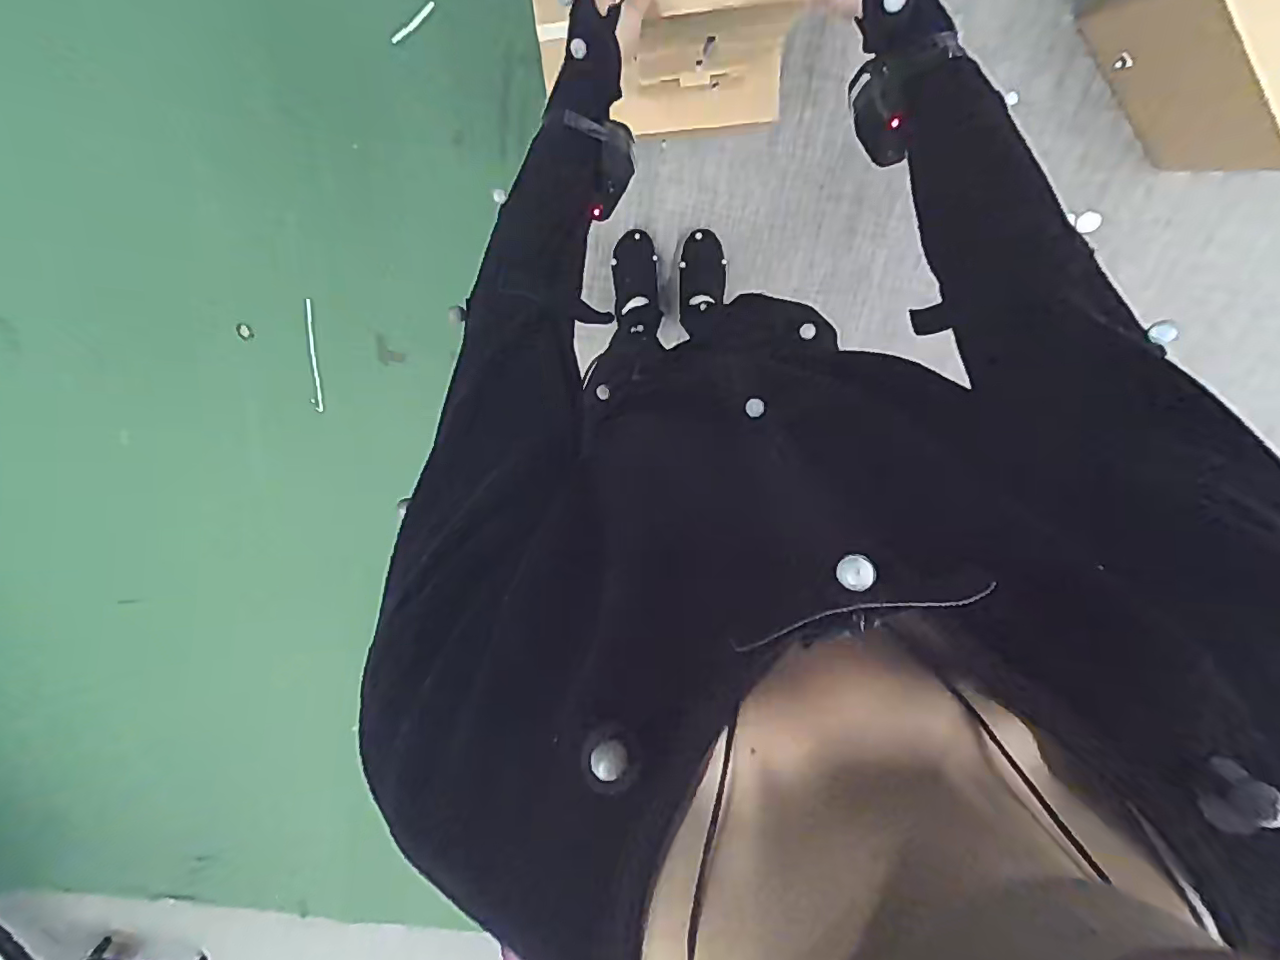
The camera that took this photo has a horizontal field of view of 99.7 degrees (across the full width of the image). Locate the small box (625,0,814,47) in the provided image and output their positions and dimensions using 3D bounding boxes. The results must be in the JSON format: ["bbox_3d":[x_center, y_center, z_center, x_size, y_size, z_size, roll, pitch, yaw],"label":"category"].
[{"bbox_3d":[0.068,-0.536,0.513,0.179,0.176,0.168,-4,119,3],"label":"small box"}]

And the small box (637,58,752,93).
[{"bbox_3d":[0.075,-0.692,0.803,0.168,0.176,0.179,-4,119,3],"label":"small box"}]

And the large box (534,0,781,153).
[{"bbox_3d":[0.038,-0.819,1.013,0.408,0.320,0.320,-4,118,5],"label":"large box"}]

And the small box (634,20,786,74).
[{"bbox_3d":[0.075,-0.615,0.658,0.179,0.176,0.168,-5,119,4],"label":"small box"}]
